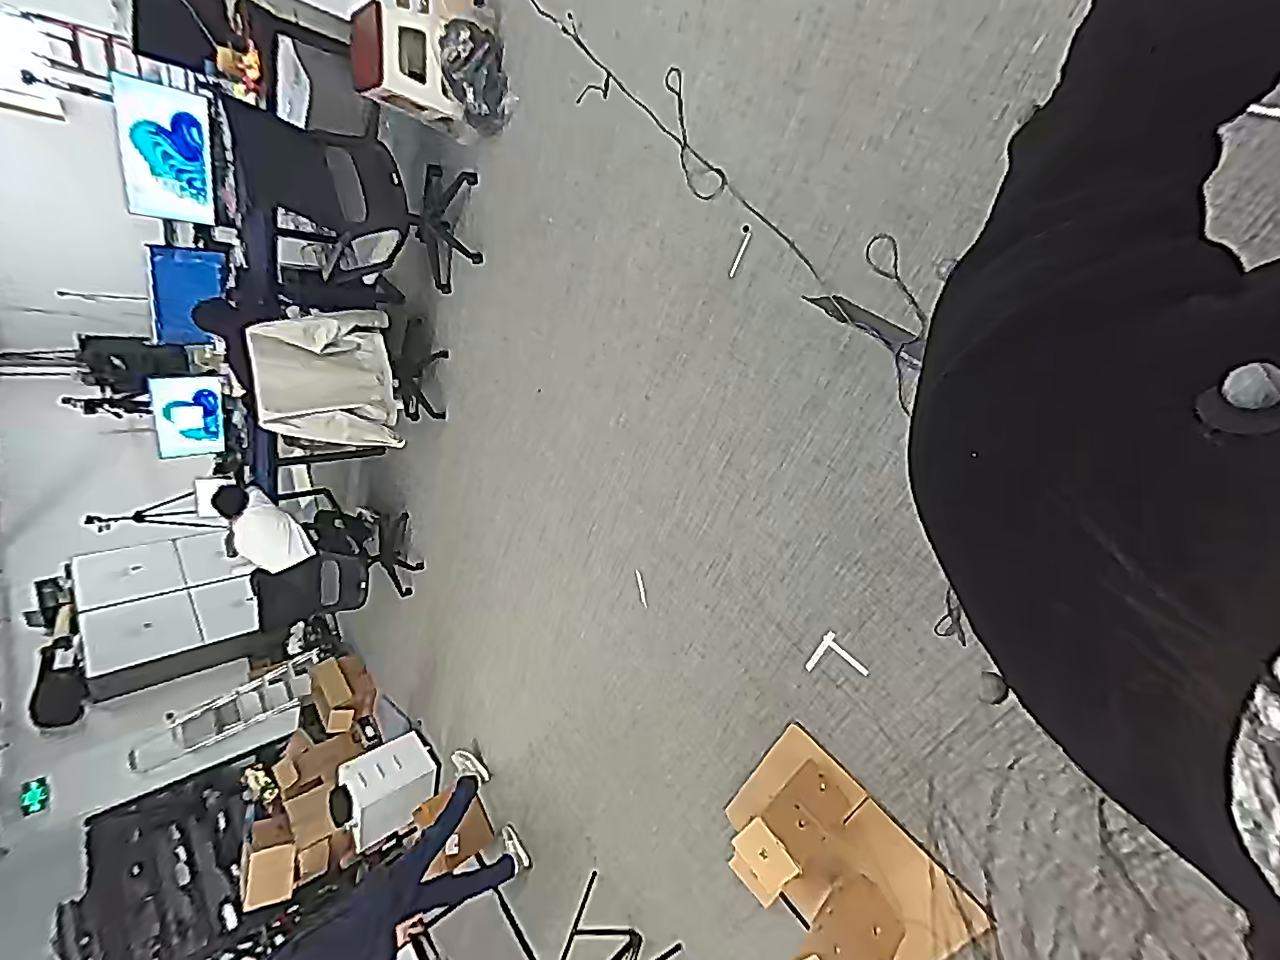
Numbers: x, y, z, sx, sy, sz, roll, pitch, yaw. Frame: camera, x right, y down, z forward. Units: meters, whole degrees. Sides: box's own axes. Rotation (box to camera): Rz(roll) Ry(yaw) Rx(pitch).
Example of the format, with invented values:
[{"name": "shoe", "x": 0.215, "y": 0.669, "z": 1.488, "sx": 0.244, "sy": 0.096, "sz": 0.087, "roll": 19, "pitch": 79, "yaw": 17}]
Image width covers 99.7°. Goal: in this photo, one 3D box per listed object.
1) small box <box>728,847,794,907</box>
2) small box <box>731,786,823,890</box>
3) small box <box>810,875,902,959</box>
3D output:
[{"name": "small box", "x": 0.444, "y": 1.308, "z": 1.876, "sx": 0.179, "sy": 0.176, "sz": 0.168, "roll": 38, "pitch": 124, "yaw": 34}, {"name": "small box", "x": 0.414, "y": 1.068, "z": 1.621, "sx": 0.168, "sy": 0.176, "sz": 0.179, "roll": 45, "pitch": 125, "yaw": 29}, {"name": "small box", "x": 0.669, "y": 1.376, "z": 1.664, "sx": 0.179, "sy": 0.176, "sz": 0.168, "roll": 49, "pitch": 128, "yaw": 24}]
